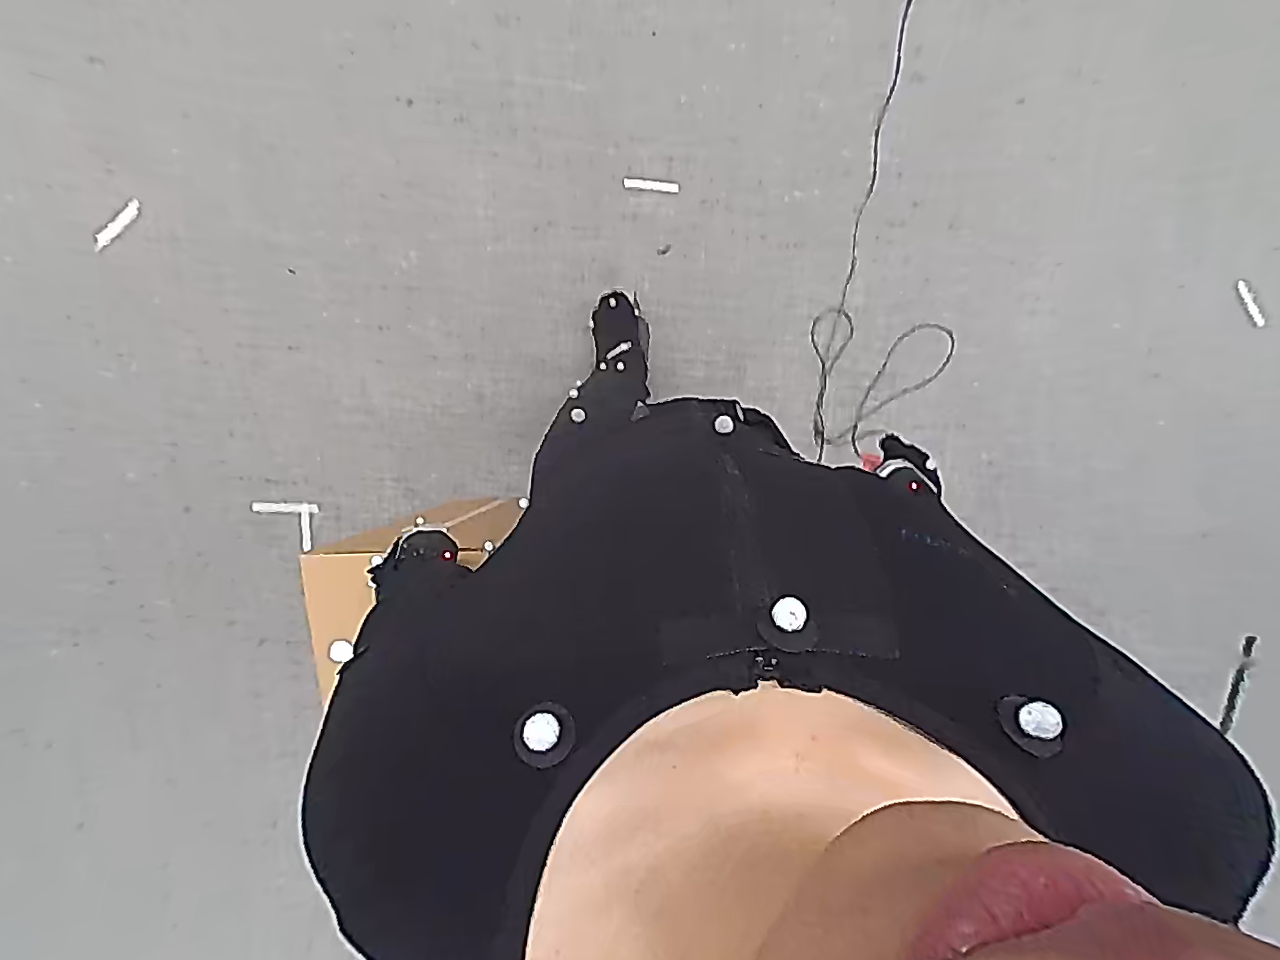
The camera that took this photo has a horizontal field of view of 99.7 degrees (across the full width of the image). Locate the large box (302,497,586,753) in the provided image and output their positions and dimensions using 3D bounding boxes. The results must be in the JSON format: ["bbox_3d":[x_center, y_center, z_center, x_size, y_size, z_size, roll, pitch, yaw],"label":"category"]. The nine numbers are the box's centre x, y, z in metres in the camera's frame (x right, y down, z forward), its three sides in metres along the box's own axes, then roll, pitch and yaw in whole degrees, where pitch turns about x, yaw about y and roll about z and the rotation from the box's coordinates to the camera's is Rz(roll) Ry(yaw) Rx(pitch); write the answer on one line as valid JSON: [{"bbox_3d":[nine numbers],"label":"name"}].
[{"bbox_3d":[-0.302,0.219,0.968,0.320,0.408,0.320,-3,98,12],"label":"large box"}]
